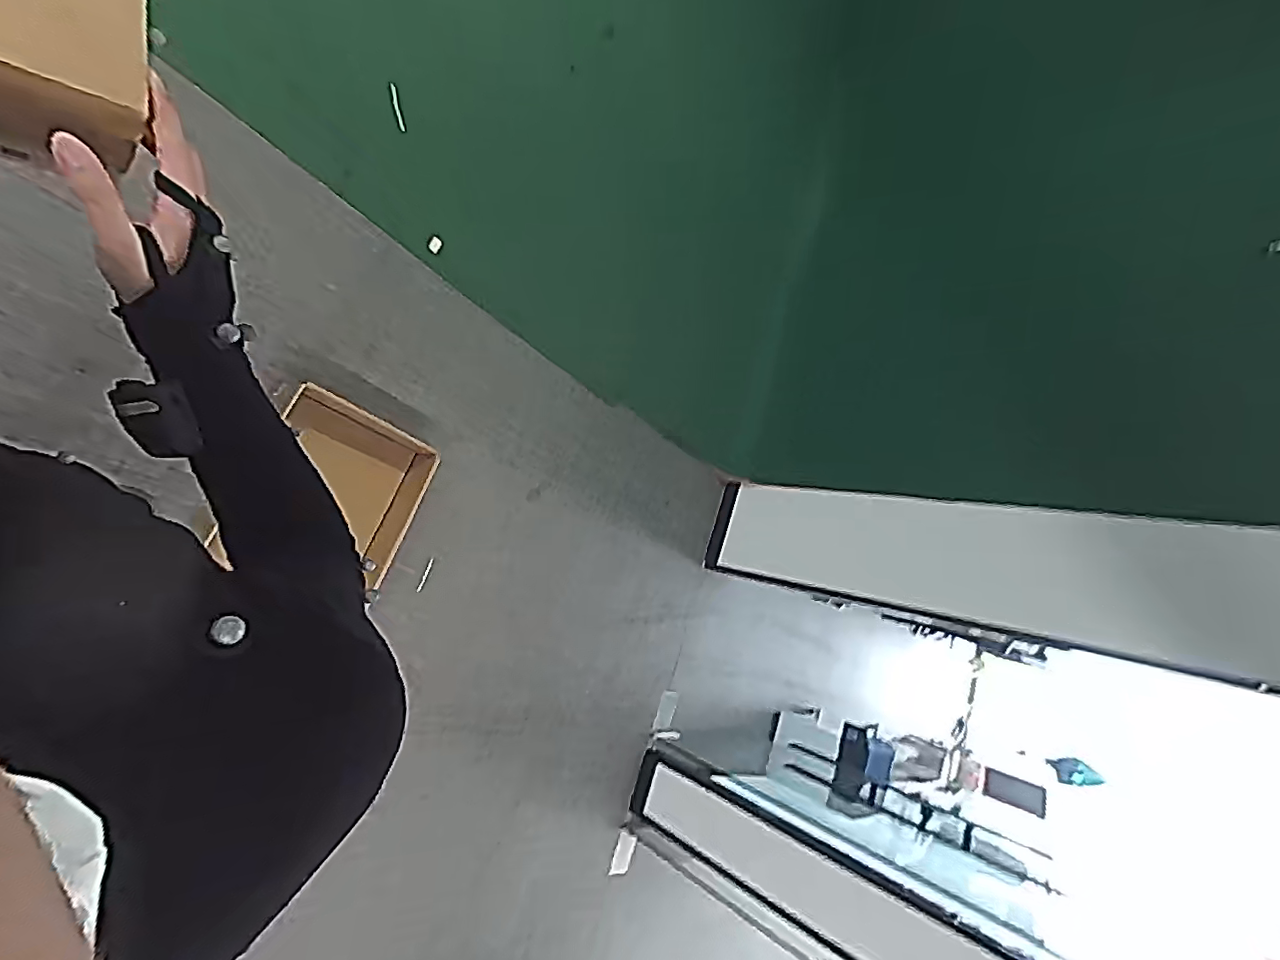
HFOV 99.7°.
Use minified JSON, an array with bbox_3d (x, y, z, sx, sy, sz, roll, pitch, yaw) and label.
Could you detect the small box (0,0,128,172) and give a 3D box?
[{"bbox_3d":[-0.440,-0.329,0.337,0.168,0.176,0.179,-2,94,-49],"label":"small box"}]
